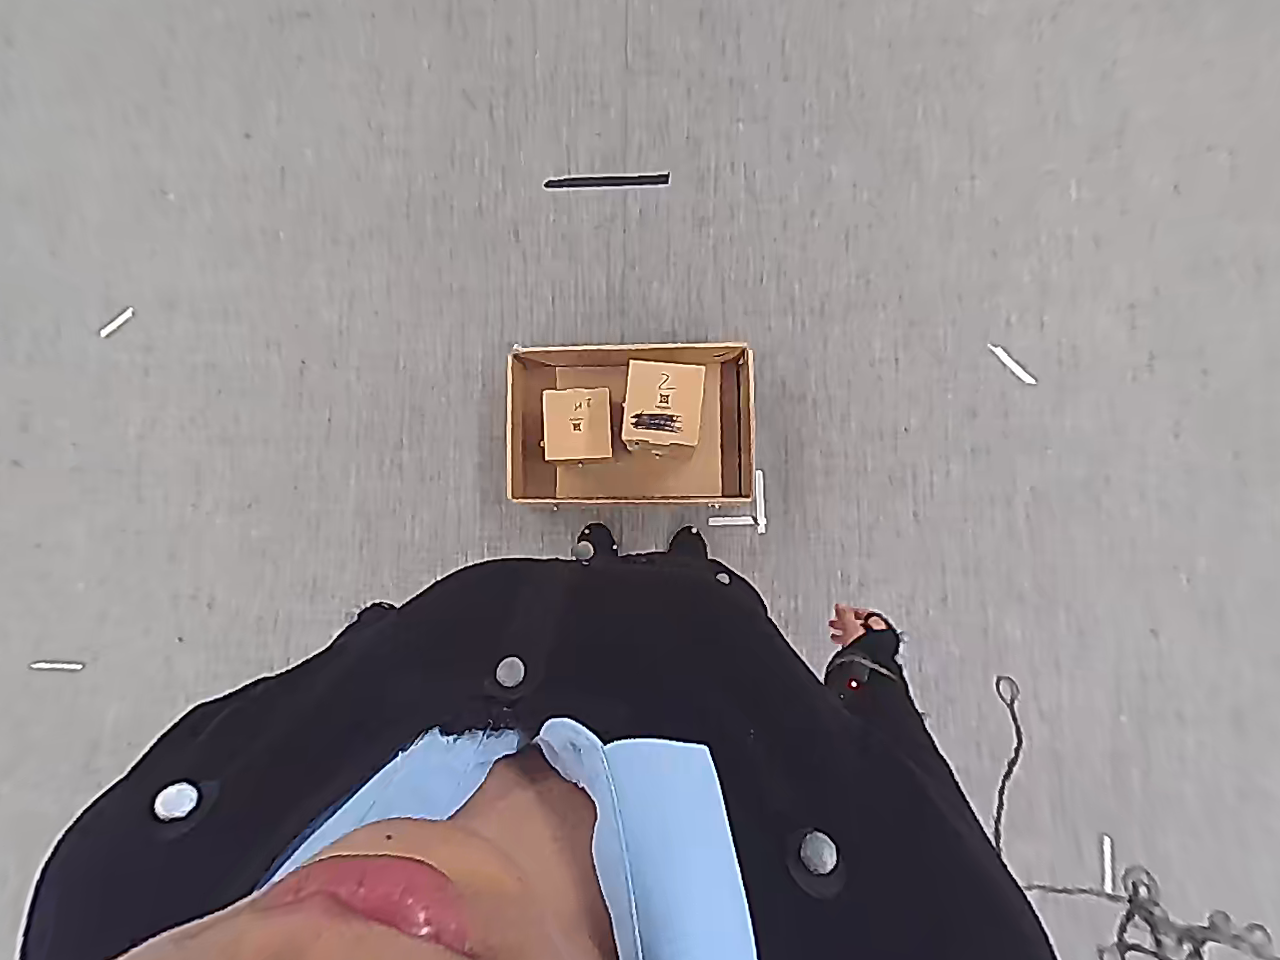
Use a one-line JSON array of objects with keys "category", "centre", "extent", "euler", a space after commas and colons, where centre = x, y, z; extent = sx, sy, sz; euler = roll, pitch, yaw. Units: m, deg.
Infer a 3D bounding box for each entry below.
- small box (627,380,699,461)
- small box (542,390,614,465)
[{"category": "small box", "centre": [0.060, -0.149, 1.398], "extent": [0.168, 0.176, 0.179], "euler": [4, 87, 4]}, {"category": "small box", "centre": [-0.156, -0.129, 1.401], "extent": [0.168, 0.176, 0.179], "euler": [-2, 86, 0]}]
